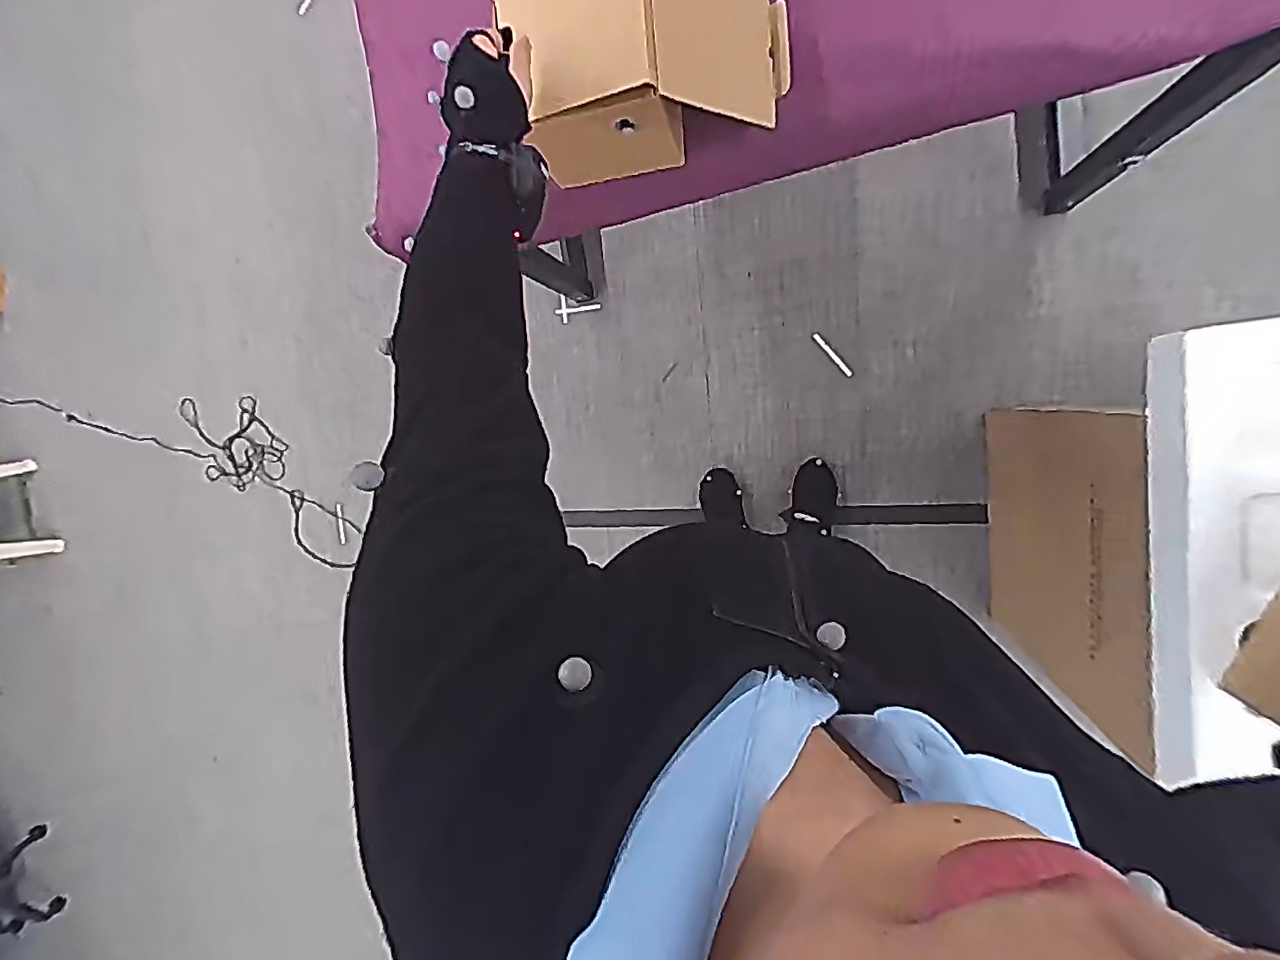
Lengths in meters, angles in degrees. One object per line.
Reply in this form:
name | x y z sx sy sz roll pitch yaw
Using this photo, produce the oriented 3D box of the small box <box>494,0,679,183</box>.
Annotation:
small box | -0.051 -0.484 0.646 0.179 0.176 0.168 -3 96 15
